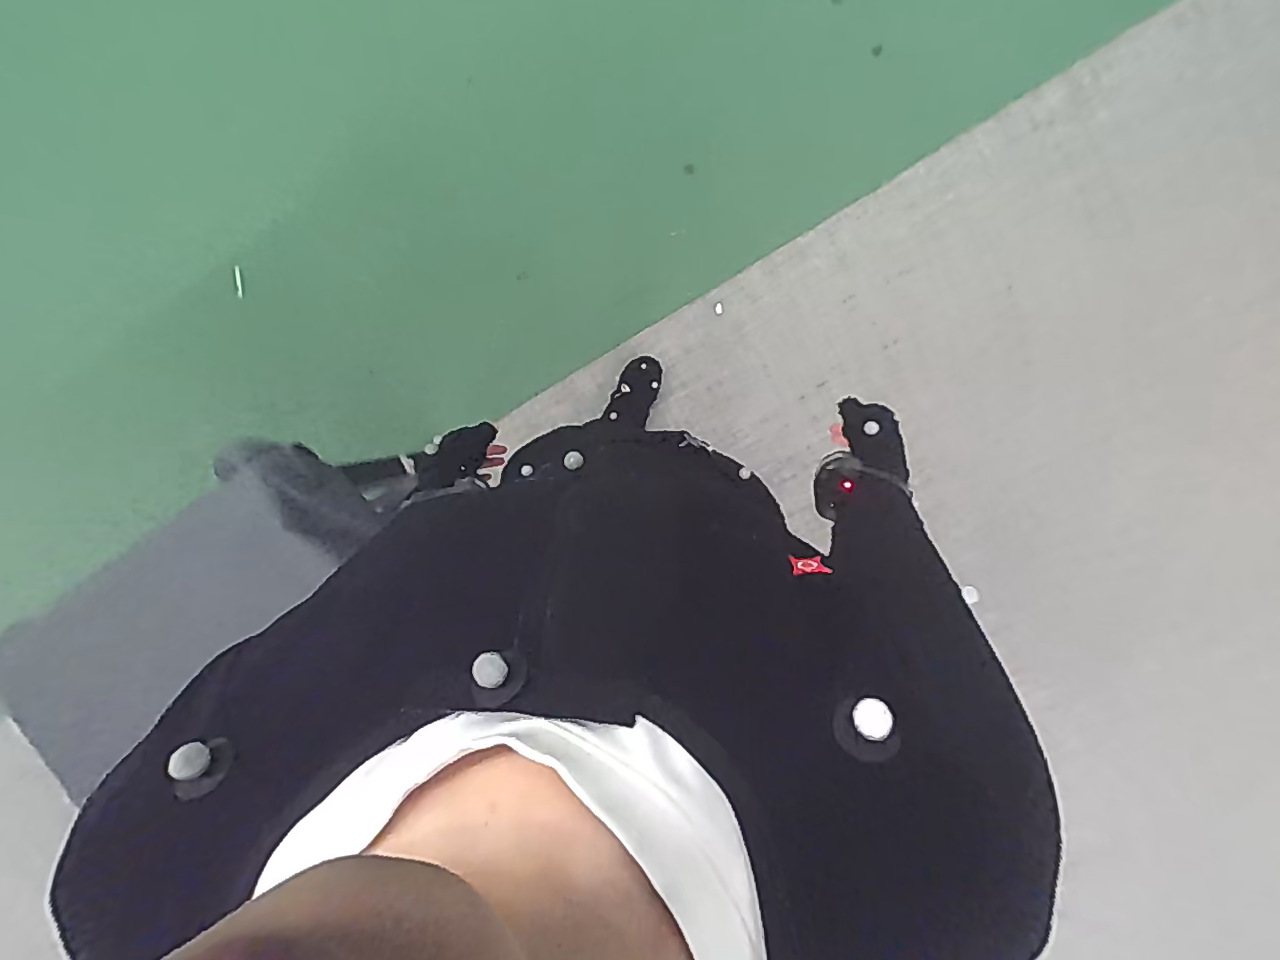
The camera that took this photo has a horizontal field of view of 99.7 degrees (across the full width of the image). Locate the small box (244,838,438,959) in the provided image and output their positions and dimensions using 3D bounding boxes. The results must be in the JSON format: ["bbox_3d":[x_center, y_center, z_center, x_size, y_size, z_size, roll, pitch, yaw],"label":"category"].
[{"bbox_3d":[-0.422,0.670,0.783,0.179,0.176,0.168,-30,93,10],"label":"small box"}]
